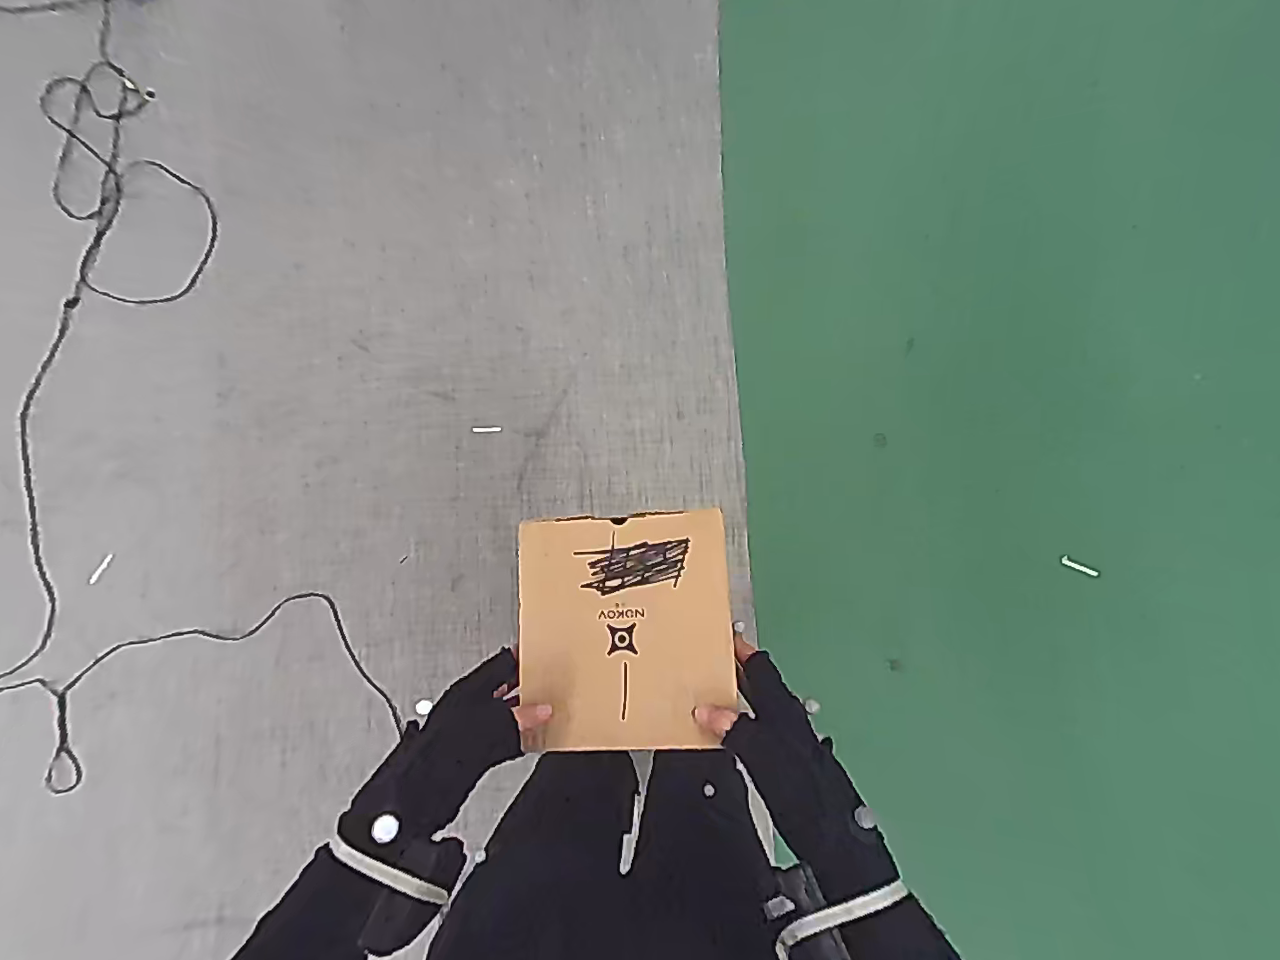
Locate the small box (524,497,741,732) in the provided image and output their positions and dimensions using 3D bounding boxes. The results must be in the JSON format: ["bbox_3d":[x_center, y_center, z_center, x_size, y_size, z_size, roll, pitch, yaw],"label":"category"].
[{"bbox_3d":[-0.001,0.119,0.496,0.168,0.176,0.179,-4,78,6],"label":"small box"}]
